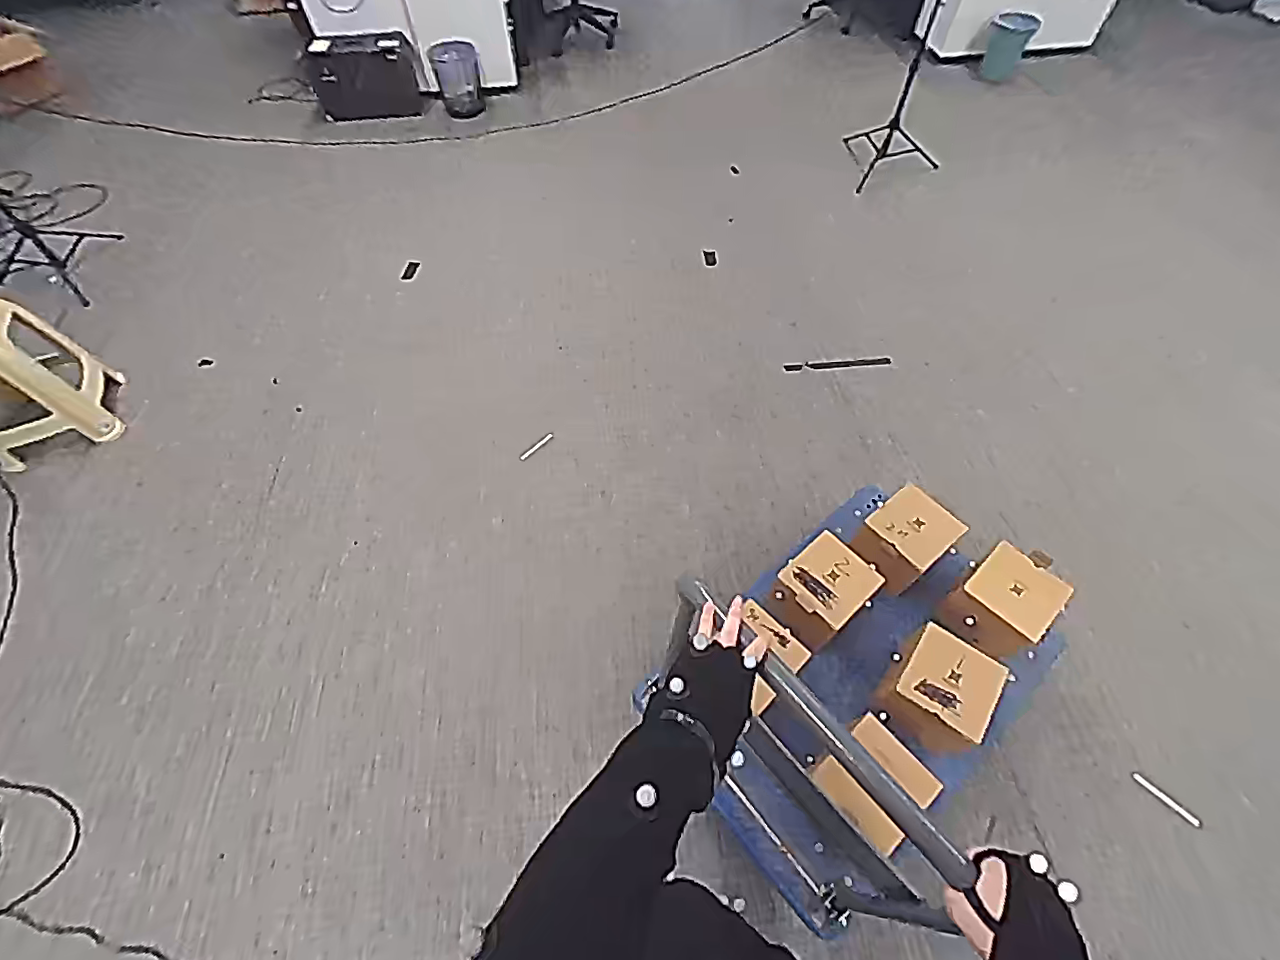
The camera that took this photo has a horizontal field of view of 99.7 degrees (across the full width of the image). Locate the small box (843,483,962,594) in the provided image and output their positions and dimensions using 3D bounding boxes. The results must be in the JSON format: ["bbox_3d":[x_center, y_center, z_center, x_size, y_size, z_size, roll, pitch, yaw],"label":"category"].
[{"bbox_3d":[0.630,0.145,1.321,0.179,0.176,0.168,-34,63,-19],"label":"small box"}]

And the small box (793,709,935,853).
[{"bbox_3d":[0.418,0.582,1.045,0.179,0.176,0.168,-34,64,-20],"label":"small box"}]

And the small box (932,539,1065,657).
[{"bbox_3d":[0.806,0.276,1.238,0.179,0.176,0.168,-38,64,-21],"label":"small box"}]

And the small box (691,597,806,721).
[{"bbox_3d":[0.223,0.391,1.167,0.179,0.176,0.168,-38,66,-21],"label":"small box"}]

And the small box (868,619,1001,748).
[{"bbox_3d":[0.608,0.433,1.138,0.168,0.176,0.179,33,63,20],"label":"small box"}]
